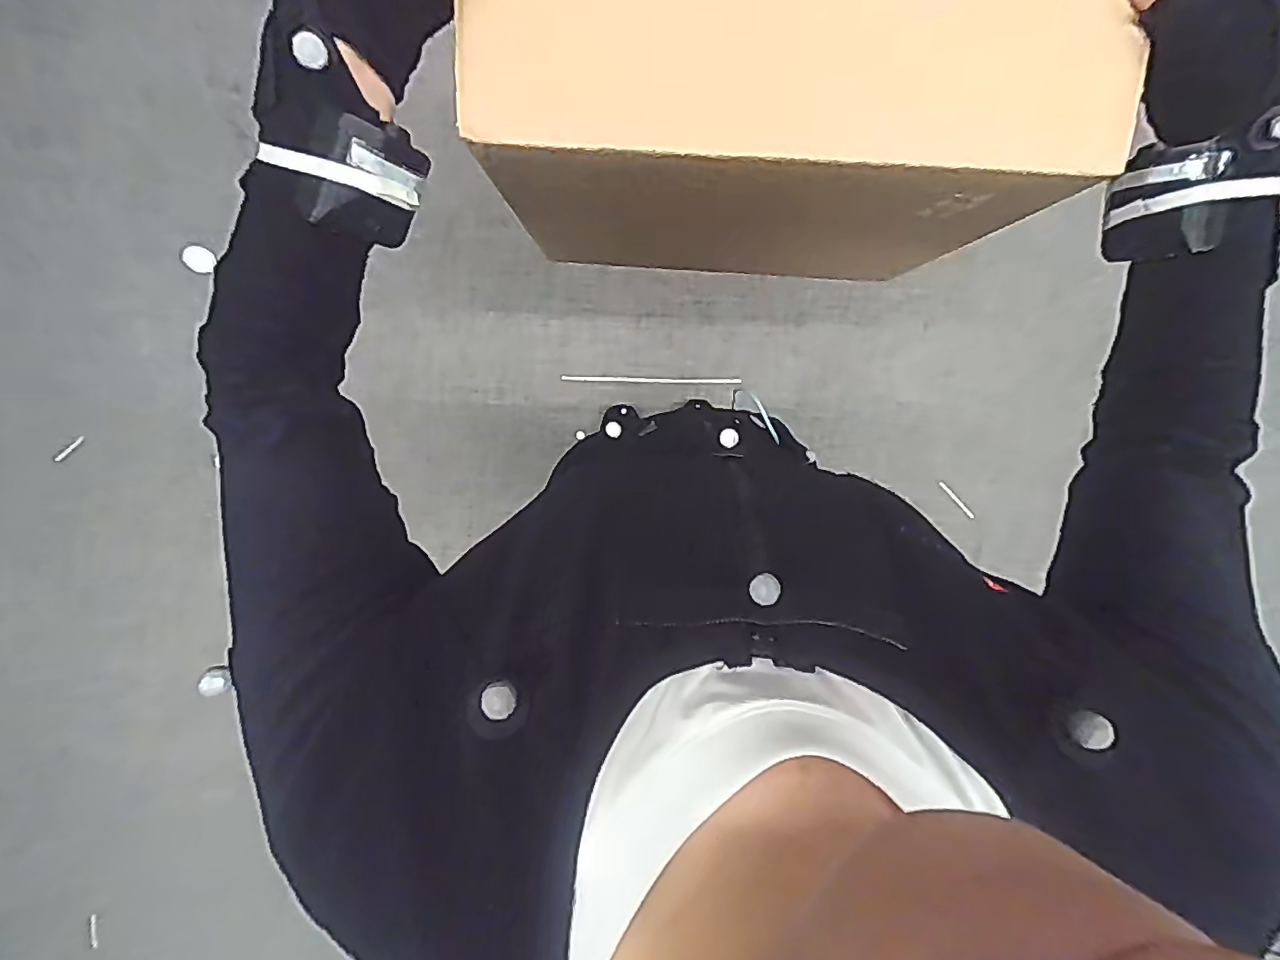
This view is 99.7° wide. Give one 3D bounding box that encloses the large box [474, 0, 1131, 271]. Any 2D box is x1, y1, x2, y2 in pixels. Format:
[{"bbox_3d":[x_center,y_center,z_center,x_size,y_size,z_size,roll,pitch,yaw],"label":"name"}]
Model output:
[{"bbox_3d":[0.098,-0.378,0.464,0.408,0.320,0.320,3,100,0],"label":"large box"}]
